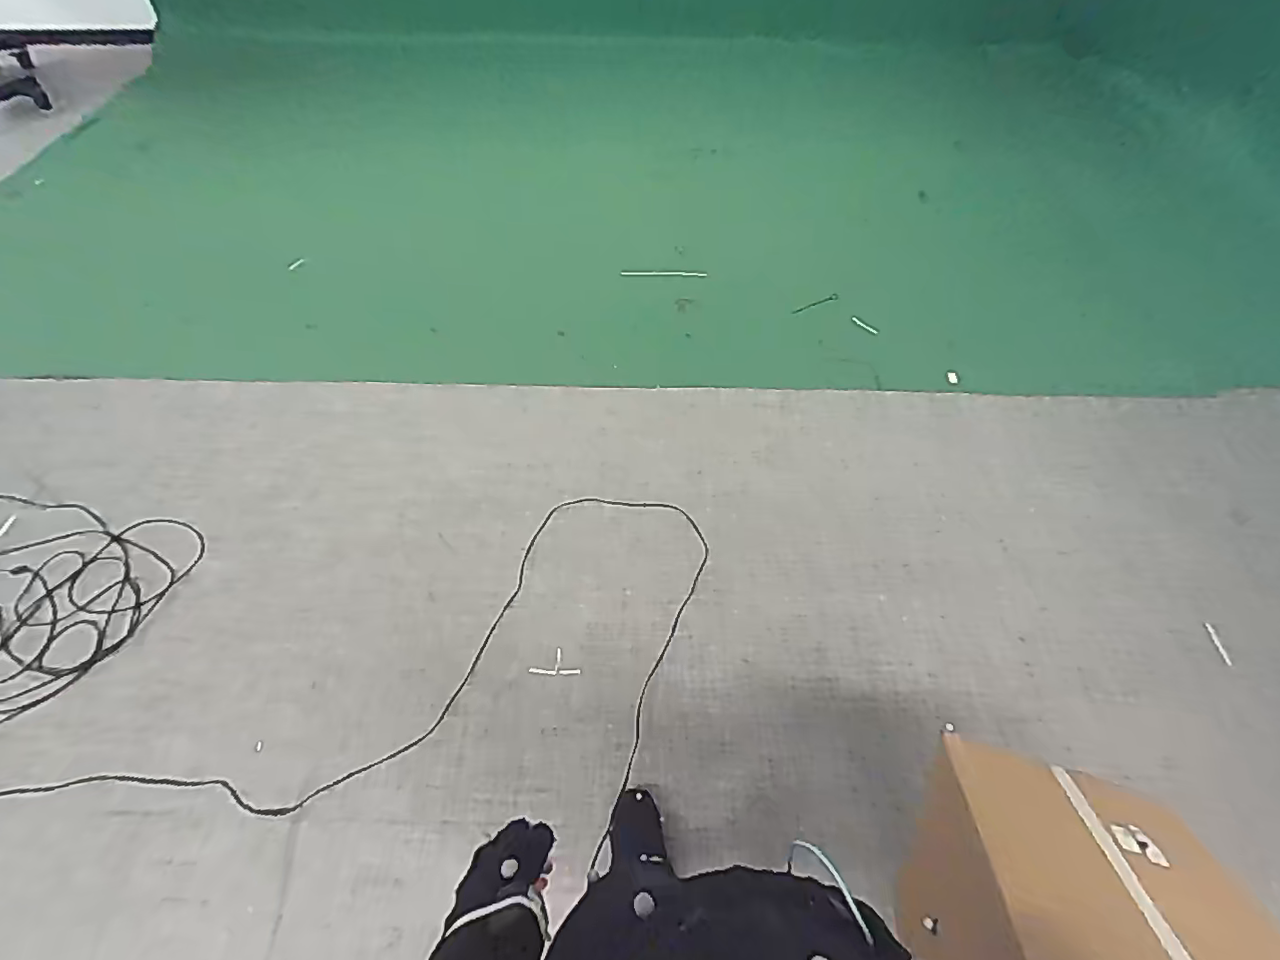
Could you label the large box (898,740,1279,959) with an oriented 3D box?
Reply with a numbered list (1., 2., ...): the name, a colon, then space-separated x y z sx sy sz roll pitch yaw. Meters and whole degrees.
1. large box: 0.544 0.618 0.666 0.320 0.408 0.320 14 102 15
